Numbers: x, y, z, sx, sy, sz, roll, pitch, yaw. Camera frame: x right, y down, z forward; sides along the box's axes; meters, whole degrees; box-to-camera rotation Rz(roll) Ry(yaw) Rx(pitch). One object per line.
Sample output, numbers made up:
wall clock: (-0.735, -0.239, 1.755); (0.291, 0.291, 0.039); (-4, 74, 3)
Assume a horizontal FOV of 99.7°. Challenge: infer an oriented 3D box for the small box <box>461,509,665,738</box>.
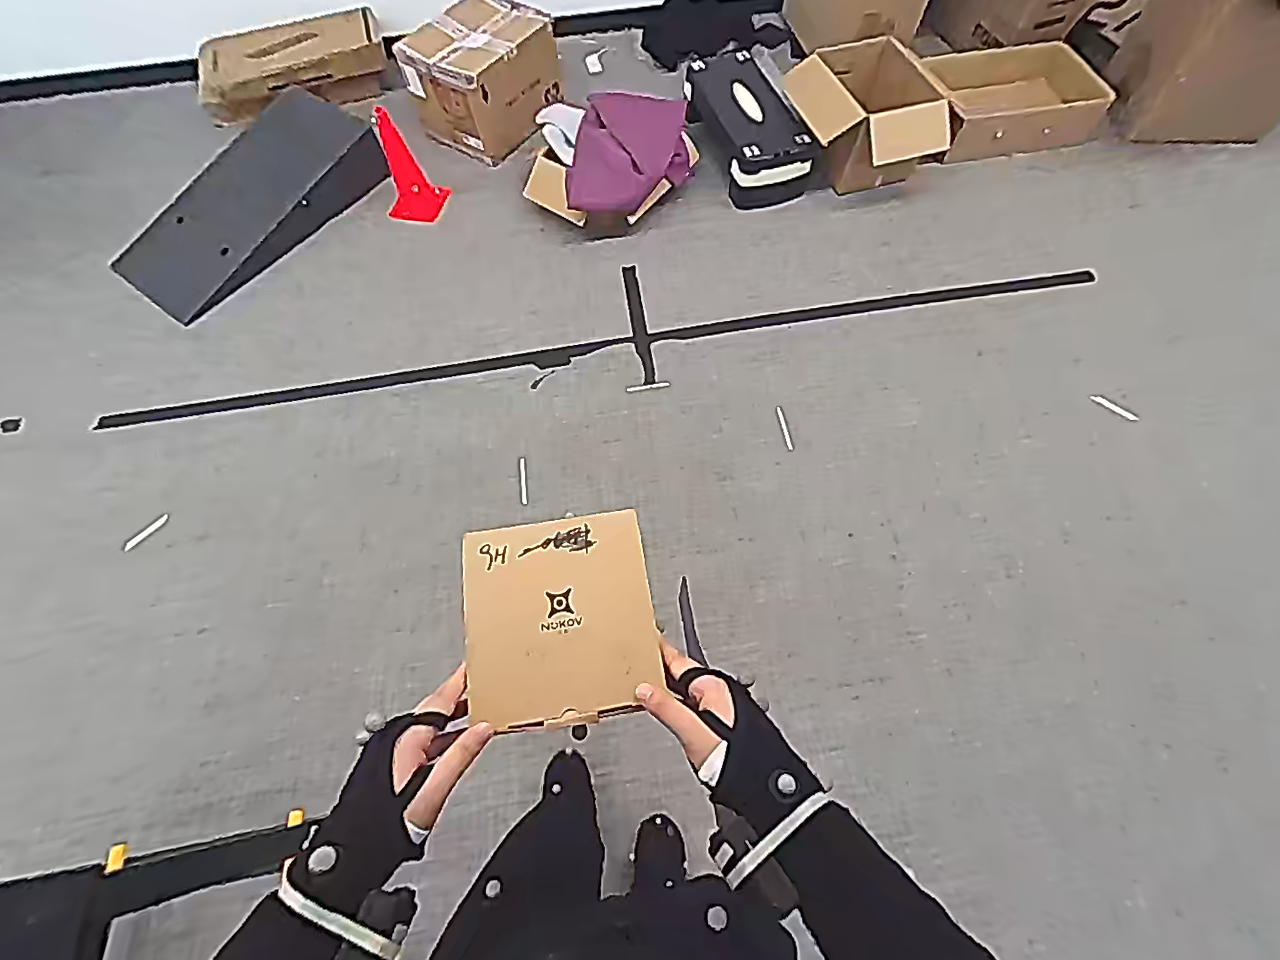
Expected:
small box: (-0.072, 0.146, 0.543); (0.168, 0.176, 0.179); (-8, 68, -5)
